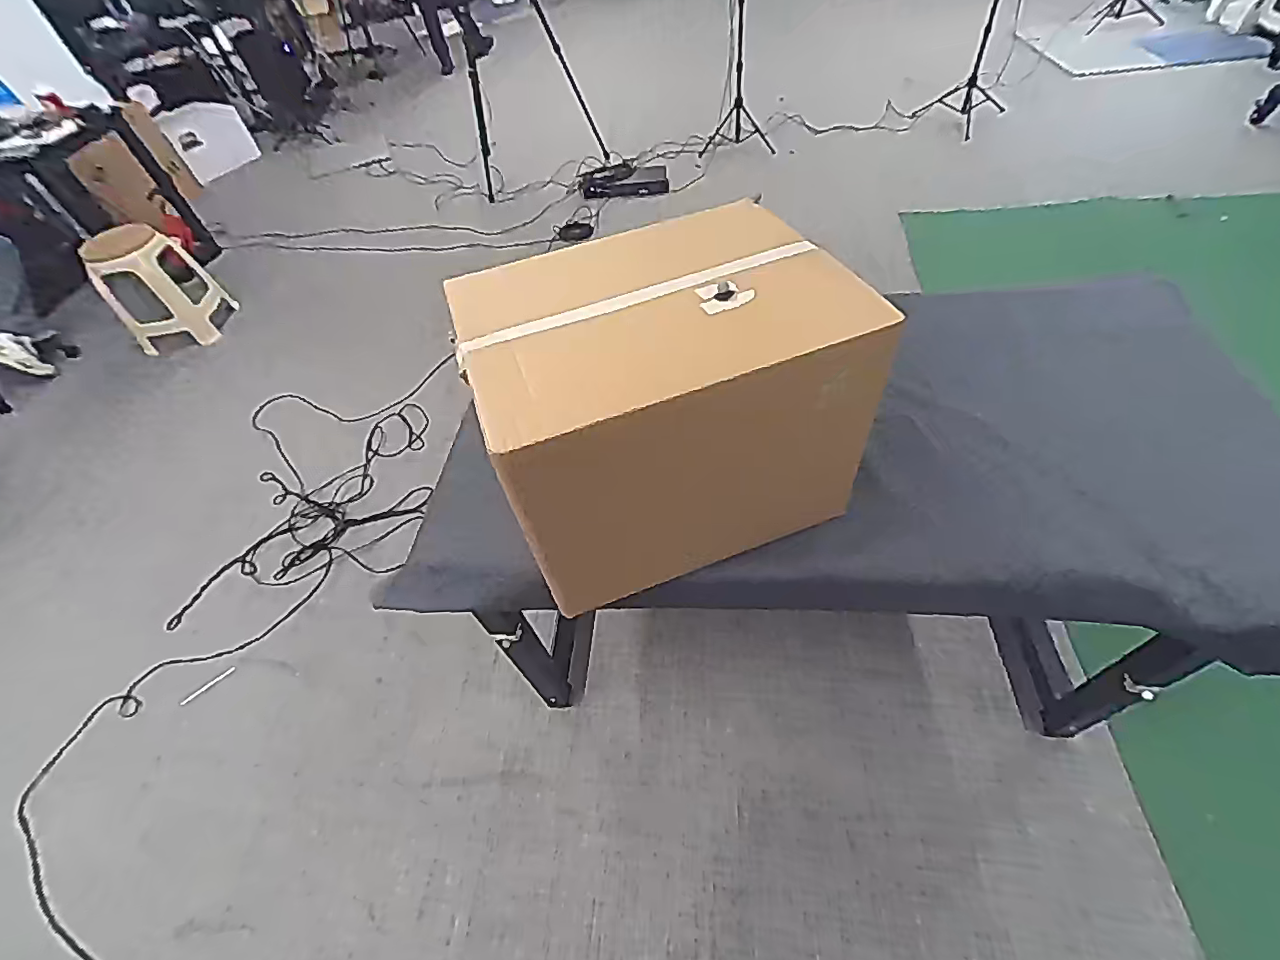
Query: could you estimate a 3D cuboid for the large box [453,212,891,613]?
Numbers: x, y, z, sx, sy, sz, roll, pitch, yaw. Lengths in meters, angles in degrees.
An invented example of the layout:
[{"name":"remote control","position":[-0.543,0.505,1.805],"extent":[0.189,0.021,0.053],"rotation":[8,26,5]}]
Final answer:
[{"name":"large box","position":[0.024,-0.090,0.699],"extent":[0.408,0.320,0.320],"rotation":[-19,51,-10]}]
